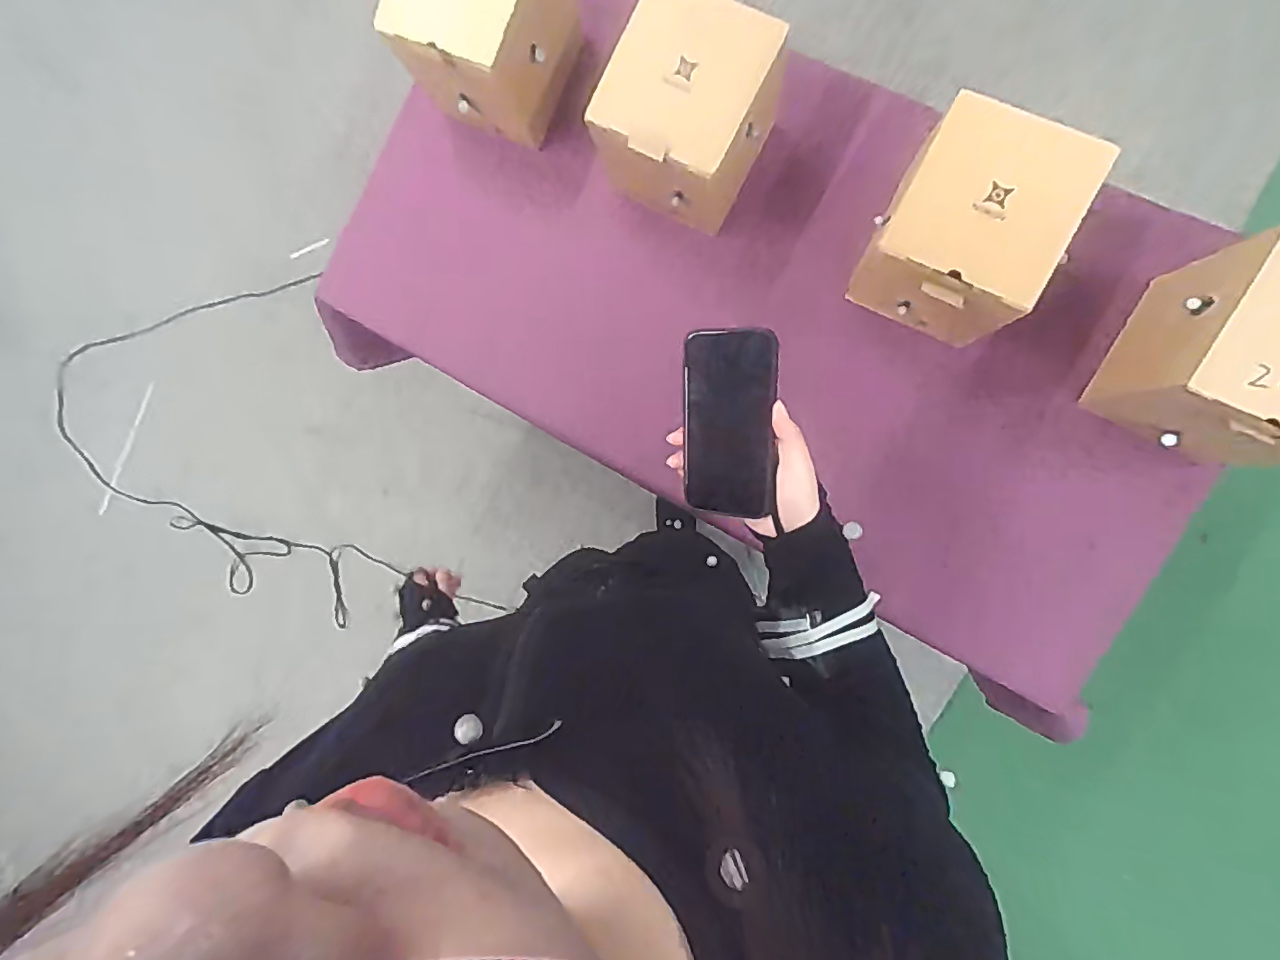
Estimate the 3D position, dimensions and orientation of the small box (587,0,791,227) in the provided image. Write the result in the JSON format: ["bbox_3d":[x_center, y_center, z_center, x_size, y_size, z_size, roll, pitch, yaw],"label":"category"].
[{"bbox_3d":[0.063,-0.447,0.661,0.168,0.176,0.179,29,96,6],"label":"small box"}]

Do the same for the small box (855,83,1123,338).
[{"bbox_3d":[0.371,-0.288,0.617,0.168,0.176,0.179,27,97,7],"label":"small box"}]

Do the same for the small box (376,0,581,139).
[{"bbox_3d":[-0.193,-0.585,0.696,0.168,0.176,0.179,25,97,7],"label":"small box"}]

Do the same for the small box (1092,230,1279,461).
[{"bbox_3d":[0.646,-0.133,0.574,0.168,0.176,0.179,30,97,8],"label":"small box"}]
